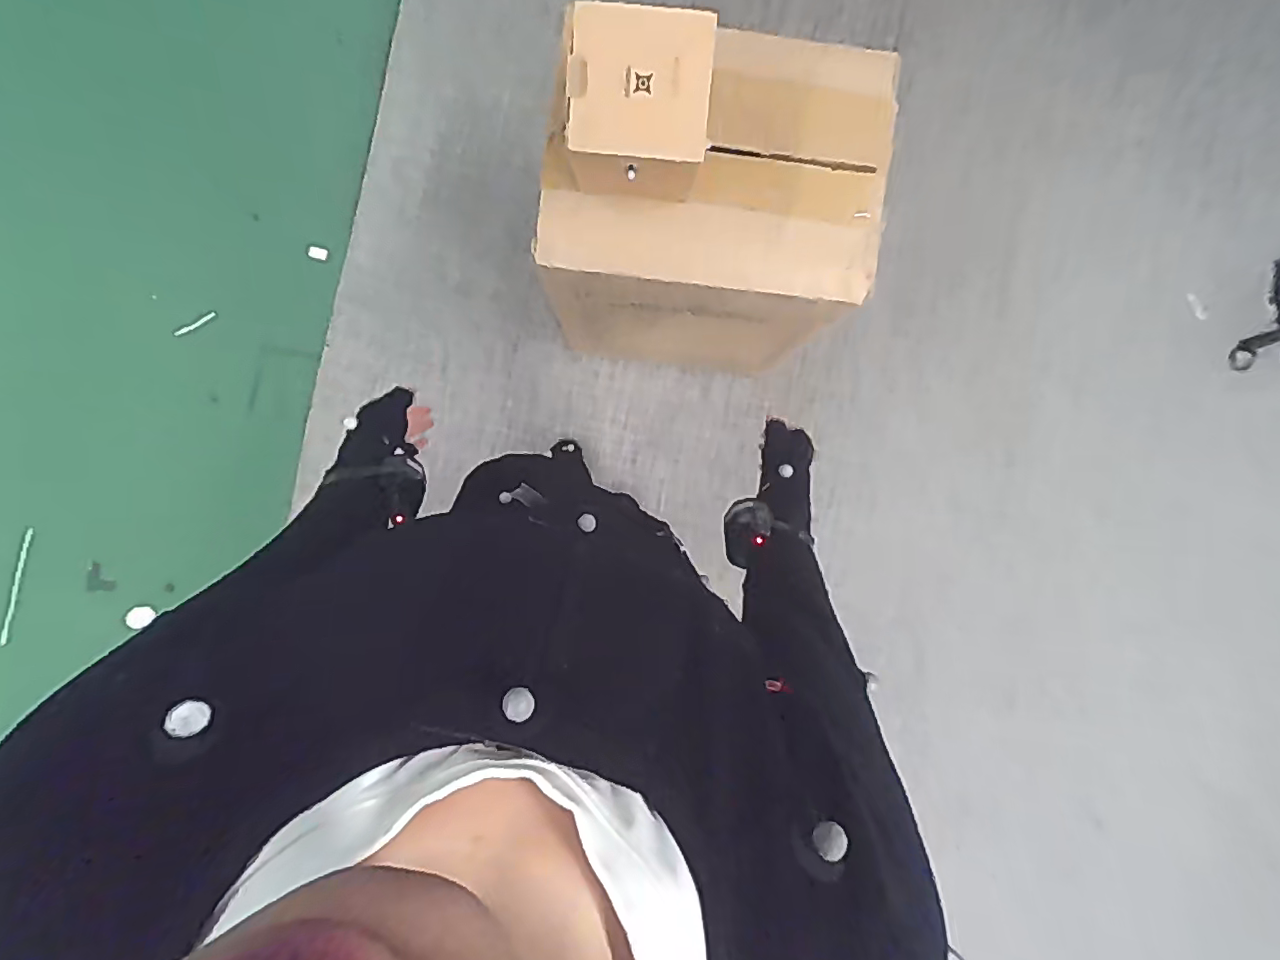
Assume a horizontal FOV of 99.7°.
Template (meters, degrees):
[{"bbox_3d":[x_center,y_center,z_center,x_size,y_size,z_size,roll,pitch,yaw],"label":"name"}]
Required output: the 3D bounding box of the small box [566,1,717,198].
[{"bbox_3d":[0.000,-0.503,0.742,0.179,0.176,0.168,4,102,-2],"label":"small box"}]
